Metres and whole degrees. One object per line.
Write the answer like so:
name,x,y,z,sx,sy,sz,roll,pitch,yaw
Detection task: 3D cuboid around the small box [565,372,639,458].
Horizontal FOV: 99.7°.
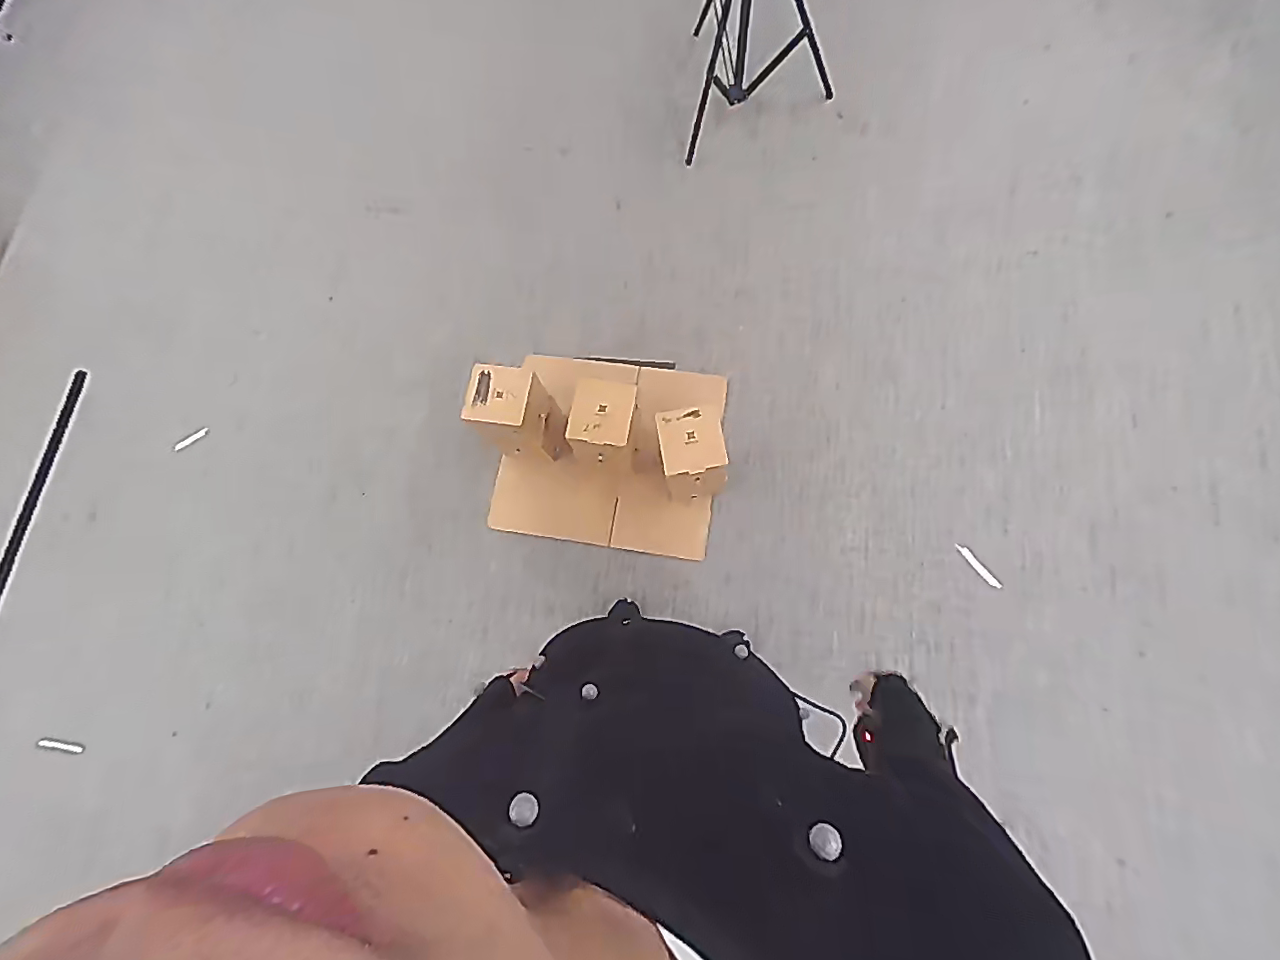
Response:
small box,-0.098,-0.176,1.504,0.168,0.176,0.179,10,78,7

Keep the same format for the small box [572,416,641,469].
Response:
small box,-0.096,-0.139,1.666,0.179,0.176,0.168,9,78,6

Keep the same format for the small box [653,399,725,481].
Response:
small box,0.134,-0.100,1.469,0.168,0.176,0.179,-10,77,3

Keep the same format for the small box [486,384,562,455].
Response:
small box,-0.356,-0.184,1.694,0.179,0.176,0.168,7,77,8

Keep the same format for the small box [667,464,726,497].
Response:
small box,0.155,-0.063,1.627,0.168,0.176,0.179,-12,76,3
